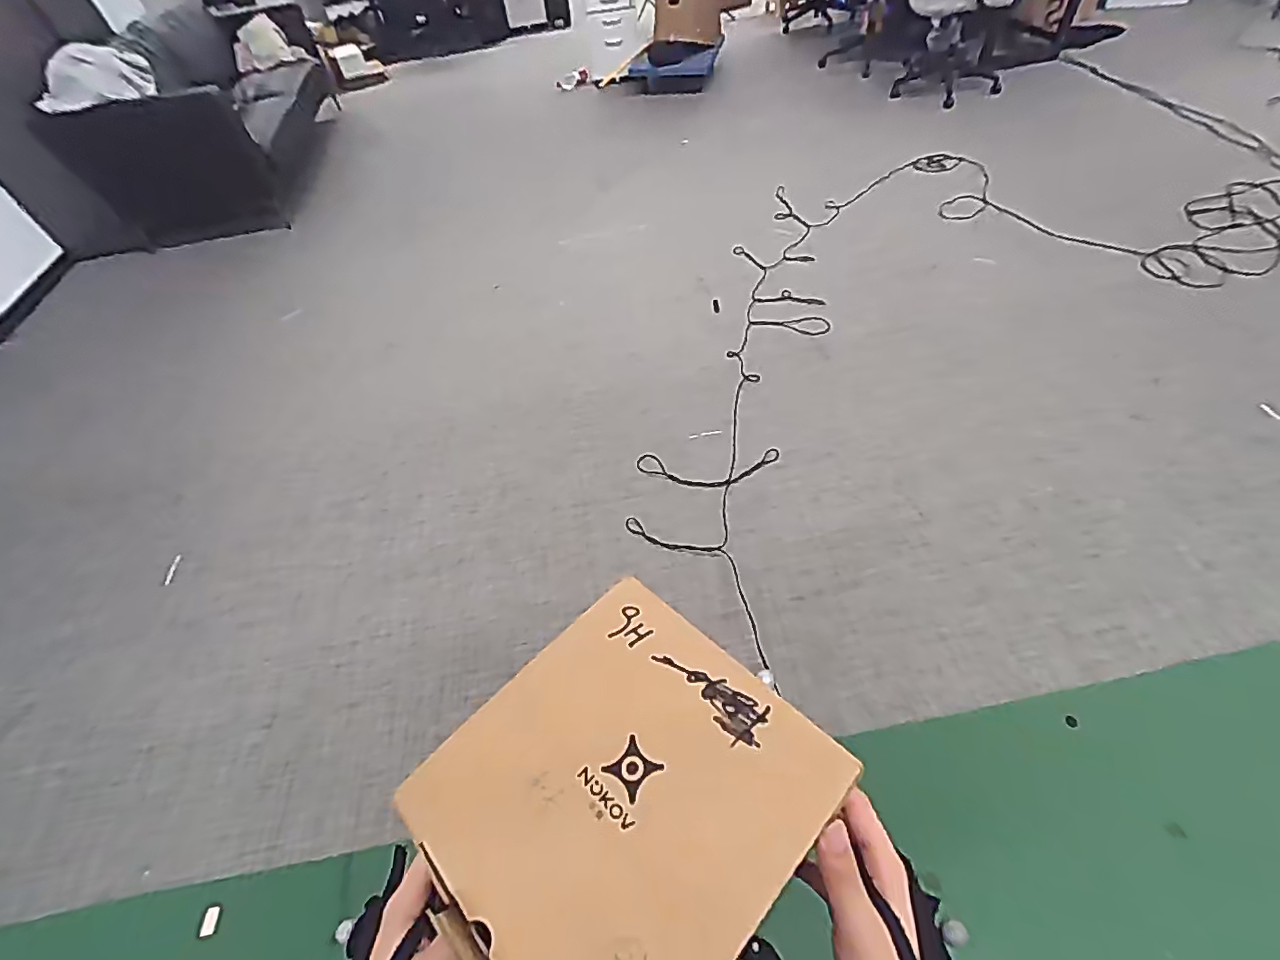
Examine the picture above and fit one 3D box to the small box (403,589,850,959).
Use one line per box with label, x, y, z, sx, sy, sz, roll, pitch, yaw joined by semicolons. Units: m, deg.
small box;0.001;0.210;0.332;0.168;0.176;0.179;34;62;32
